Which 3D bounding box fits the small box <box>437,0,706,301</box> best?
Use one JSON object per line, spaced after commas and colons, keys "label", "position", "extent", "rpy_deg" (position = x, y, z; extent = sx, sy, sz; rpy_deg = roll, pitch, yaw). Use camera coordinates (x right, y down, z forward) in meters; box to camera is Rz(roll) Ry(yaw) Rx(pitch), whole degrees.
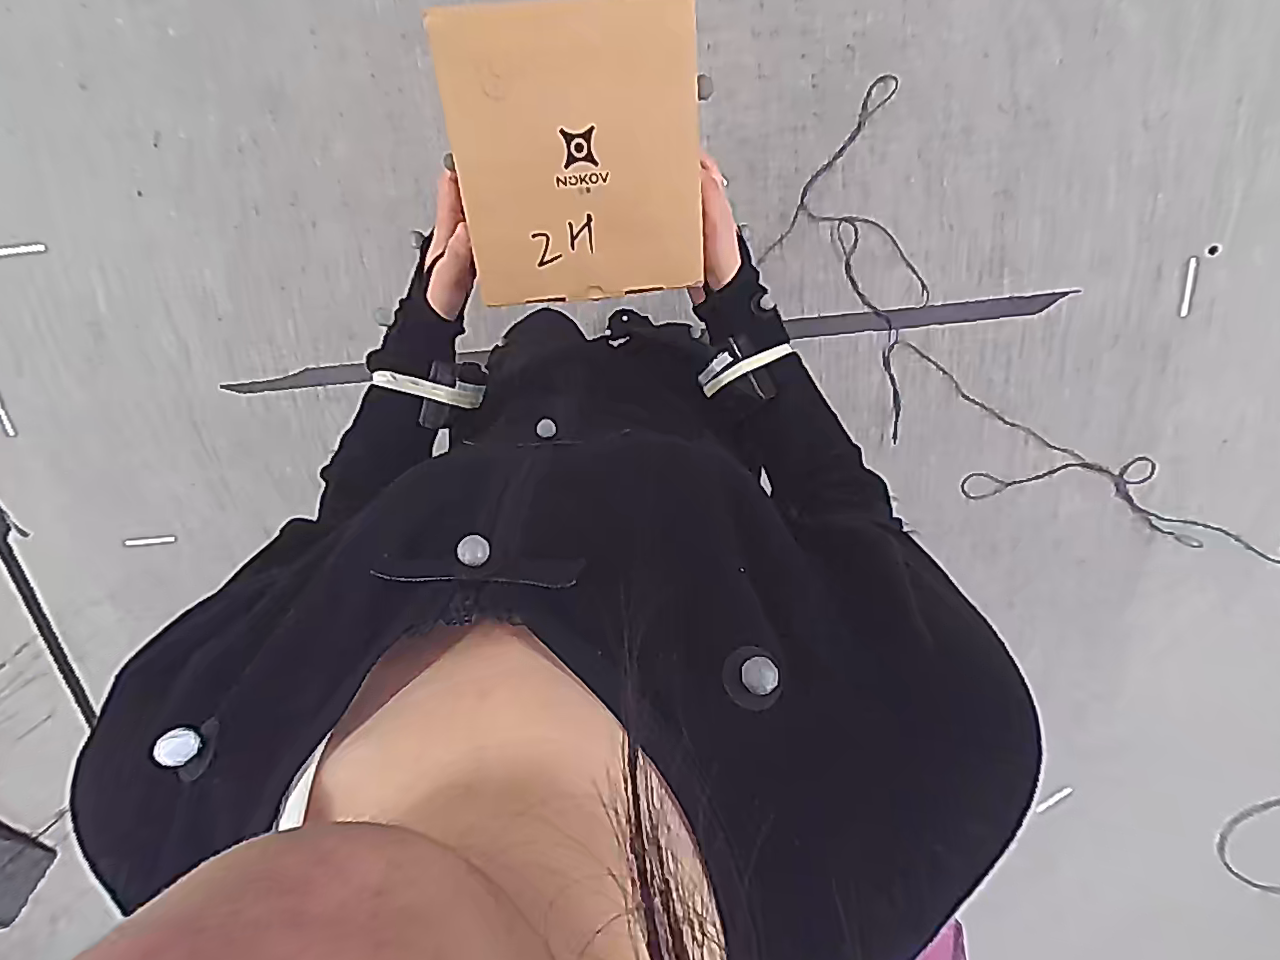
{"label": "small box", "position": [-0.044, -0.250, 0.436], "extent": [0.168, 0.176, 0.179], "rpy_deg": [-6, 116, -2]}
